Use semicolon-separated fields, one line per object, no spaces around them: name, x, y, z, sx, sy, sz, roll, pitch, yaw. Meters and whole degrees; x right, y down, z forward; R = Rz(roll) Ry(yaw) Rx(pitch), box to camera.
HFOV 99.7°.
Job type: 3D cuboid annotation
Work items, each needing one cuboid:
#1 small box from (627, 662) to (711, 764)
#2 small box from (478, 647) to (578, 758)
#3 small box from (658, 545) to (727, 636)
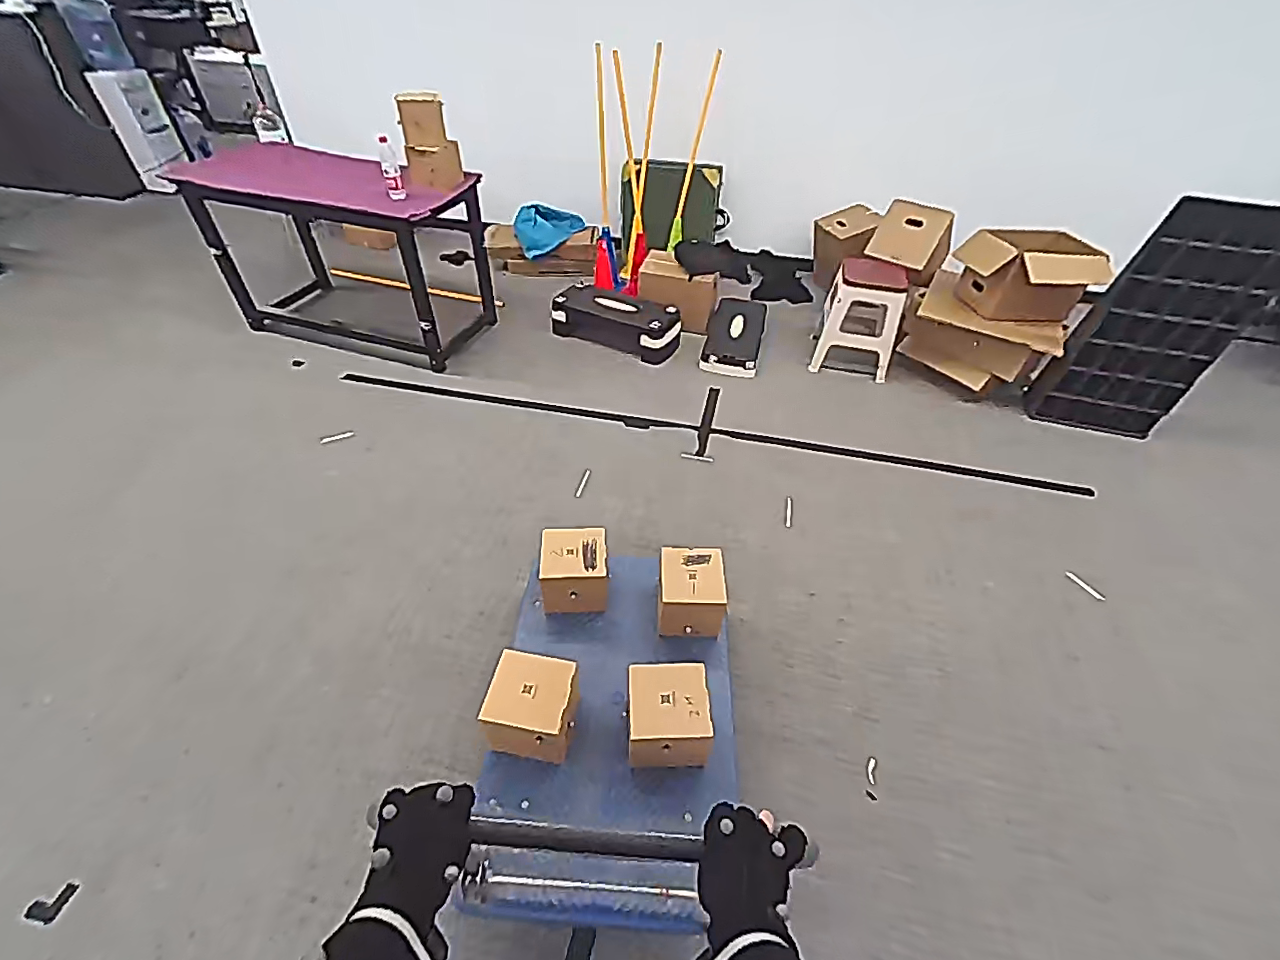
small box;0.058;0.528;1.223;0.179;0.176;0.168;0;45;-2
small box;-0.246;0.509;1.229;0.179;0.176;0.168;10;44;4
small box;0.135;0.299;1.461;0.168;0.176;0.179;2;45;-1
